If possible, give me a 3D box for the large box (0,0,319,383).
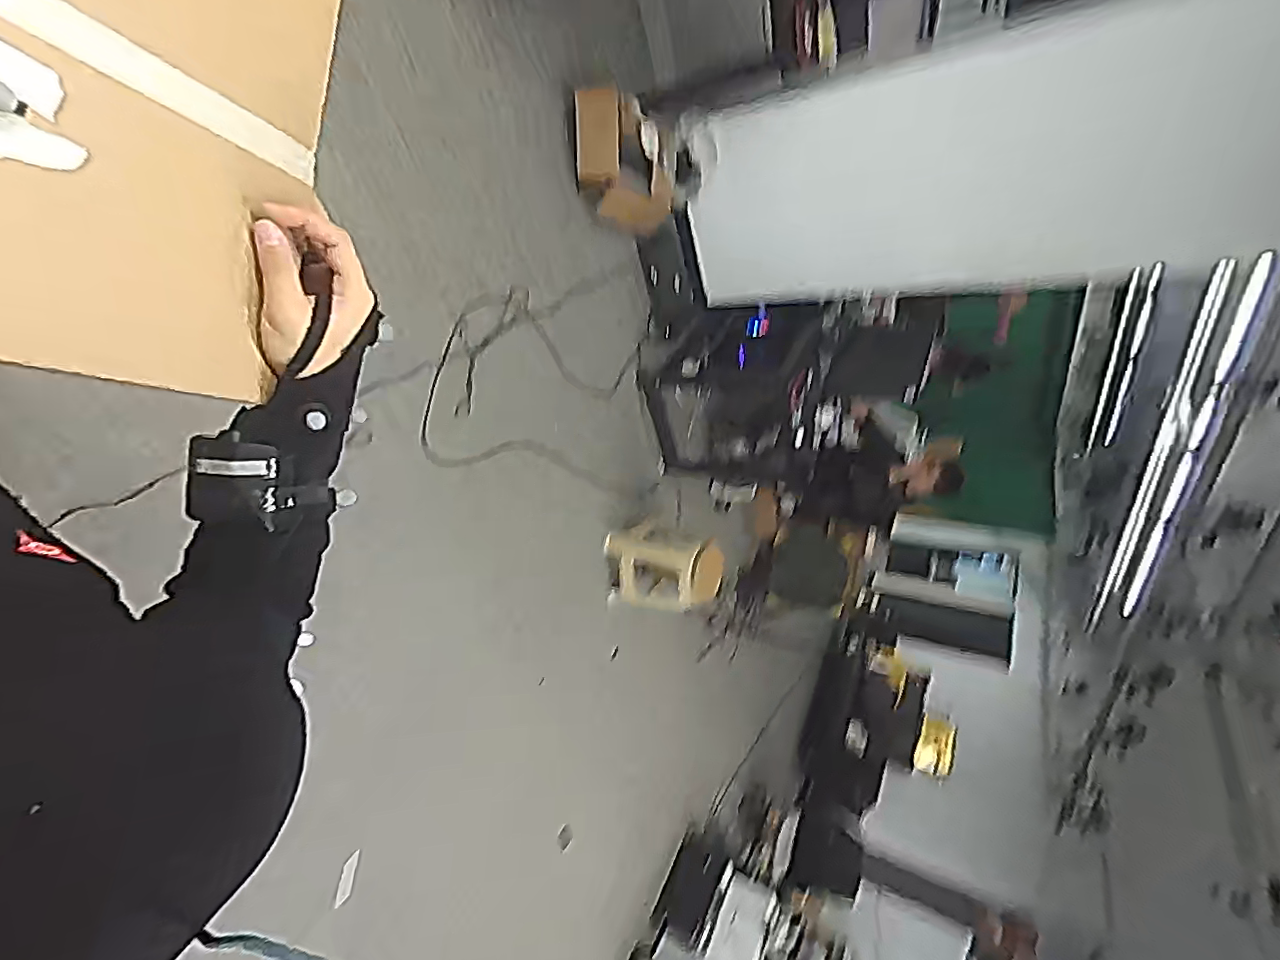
[{"bbox_3d":[-0.447,-0.242,0.245,0.408,0.320,0.320,4,97,-65],"label":"large box"}]
